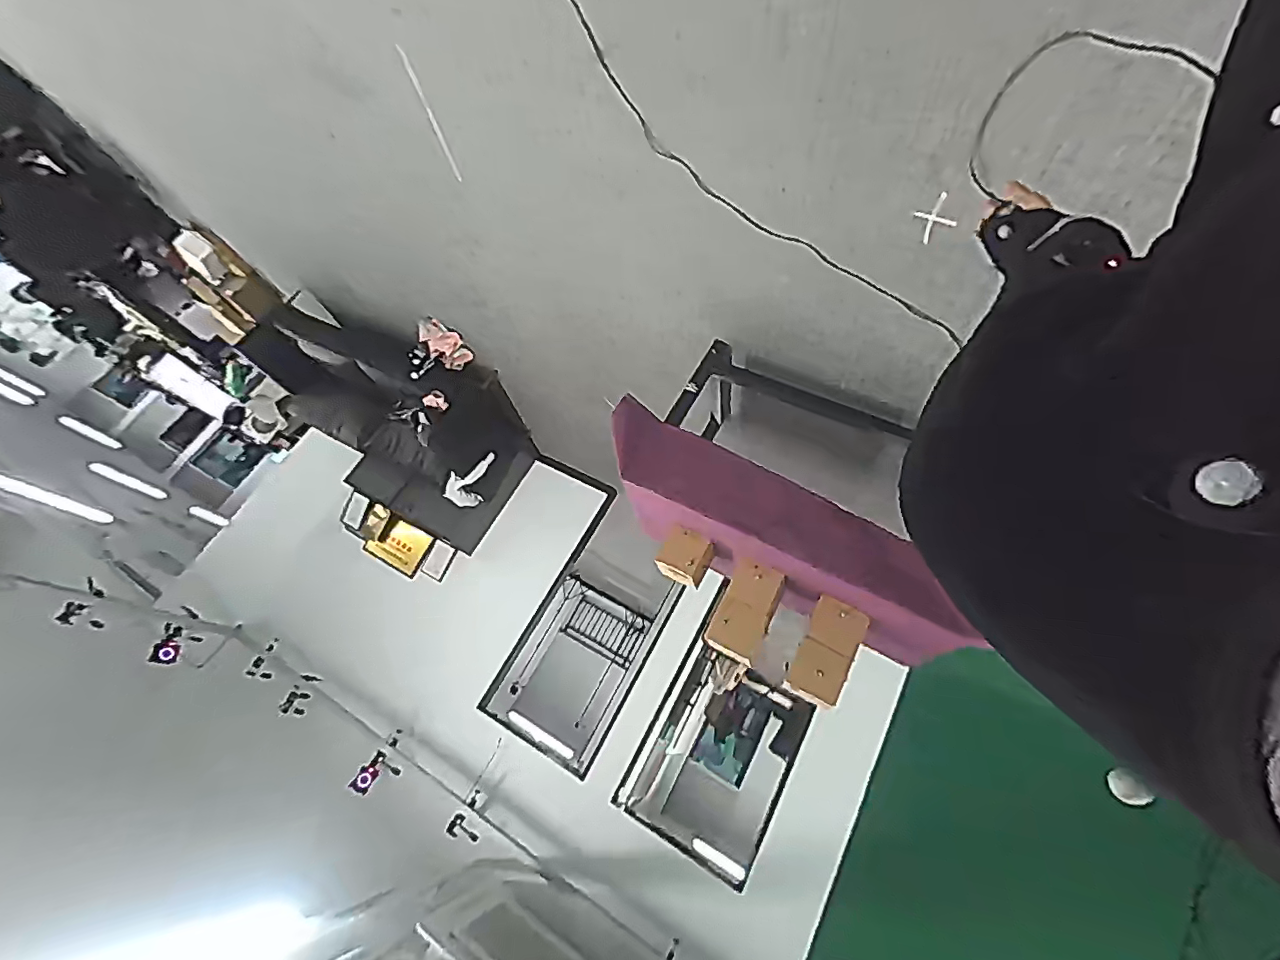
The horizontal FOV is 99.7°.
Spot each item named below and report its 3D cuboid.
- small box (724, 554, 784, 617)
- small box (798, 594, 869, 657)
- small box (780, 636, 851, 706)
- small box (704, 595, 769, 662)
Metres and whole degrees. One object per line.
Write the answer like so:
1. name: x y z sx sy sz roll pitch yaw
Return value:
1. small box: 0.436 0.408 2.040 0.168 0.176 0.179 22 159 25
2. small box: 0.690 0.525 1.935 0.179 0.176 0.168 25 161 21
3. small box: 0.607 0.657 1.884 0.179 0.176 0.168 24 160 20
4. small box: 0.356 0.539 1.984 0.179 0.176 0.168 23 160 24
